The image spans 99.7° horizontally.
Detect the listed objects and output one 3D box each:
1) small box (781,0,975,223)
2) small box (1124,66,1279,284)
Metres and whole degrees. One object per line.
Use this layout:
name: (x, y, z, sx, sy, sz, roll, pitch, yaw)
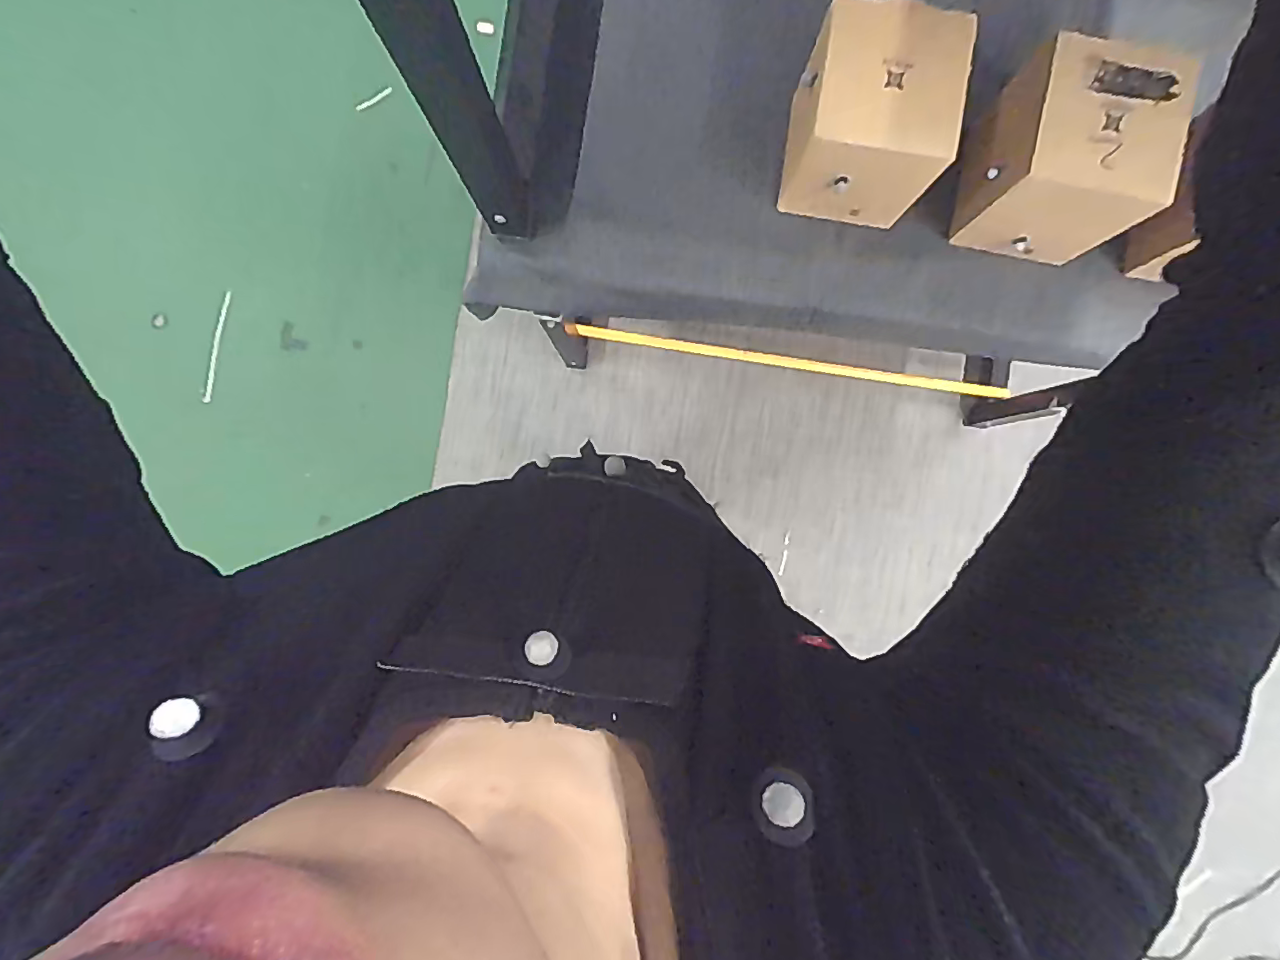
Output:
small box: (0.290, -0.462, 0.698, 0.168, 0.176, 0.179, 9, 88, 0)
small box: (0.775, -0.372, 0.691, 0.168, 0.176, 0.179, 8, 87, 0)
